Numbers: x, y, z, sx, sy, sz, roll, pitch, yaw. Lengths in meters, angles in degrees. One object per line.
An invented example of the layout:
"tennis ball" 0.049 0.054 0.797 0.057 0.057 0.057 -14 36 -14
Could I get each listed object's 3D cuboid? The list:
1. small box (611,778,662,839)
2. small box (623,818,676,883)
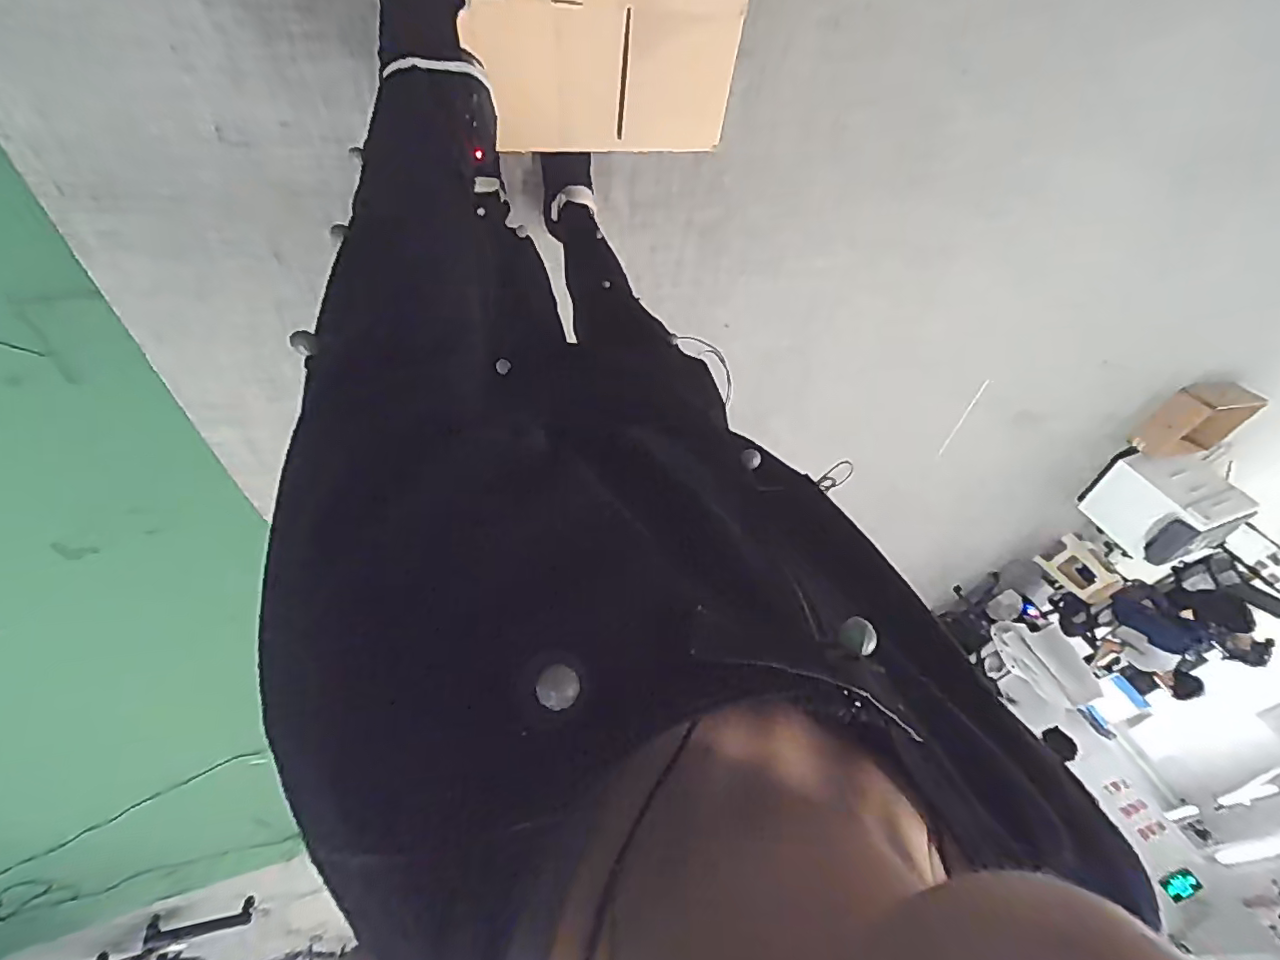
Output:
"small box" -0.019 1.437 2.372 0.179 0.176 0.168 -11 139 -16
"small box" 0.034 1.555 2.270 0.179 0.176 0.168 -12 140 -16
